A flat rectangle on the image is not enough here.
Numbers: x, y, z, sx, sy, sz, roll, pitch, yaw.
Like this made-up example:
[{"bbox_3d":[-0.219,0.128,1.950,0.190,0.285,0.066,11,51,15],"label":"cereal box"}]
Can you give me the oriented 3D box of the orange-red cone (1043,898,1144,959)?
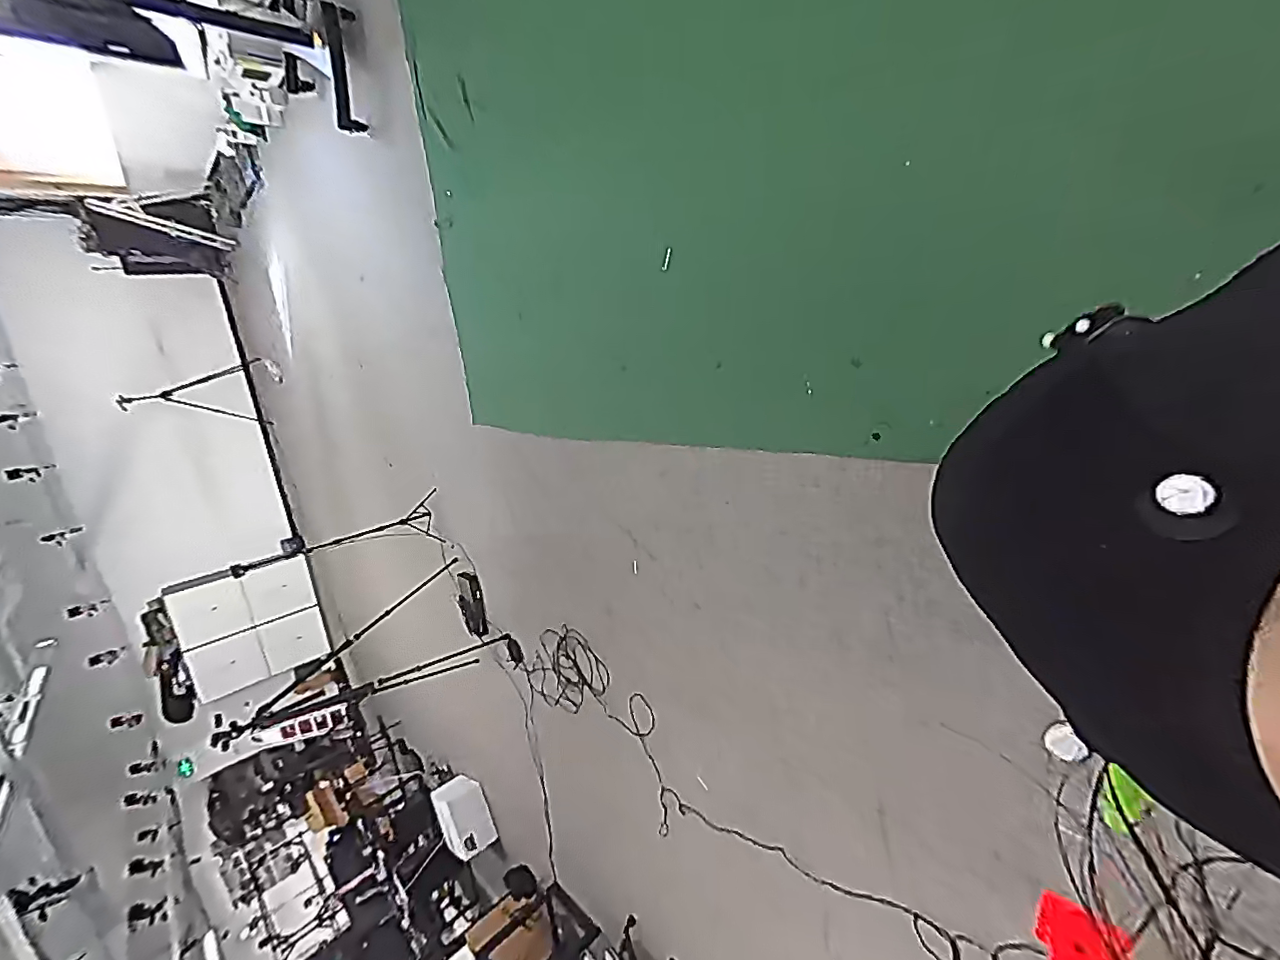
[{"bbox_3d":[1.119,1.314,1.372,0.198,0.360,0.199,14,113,43],"label":"orange-red cone"}]
